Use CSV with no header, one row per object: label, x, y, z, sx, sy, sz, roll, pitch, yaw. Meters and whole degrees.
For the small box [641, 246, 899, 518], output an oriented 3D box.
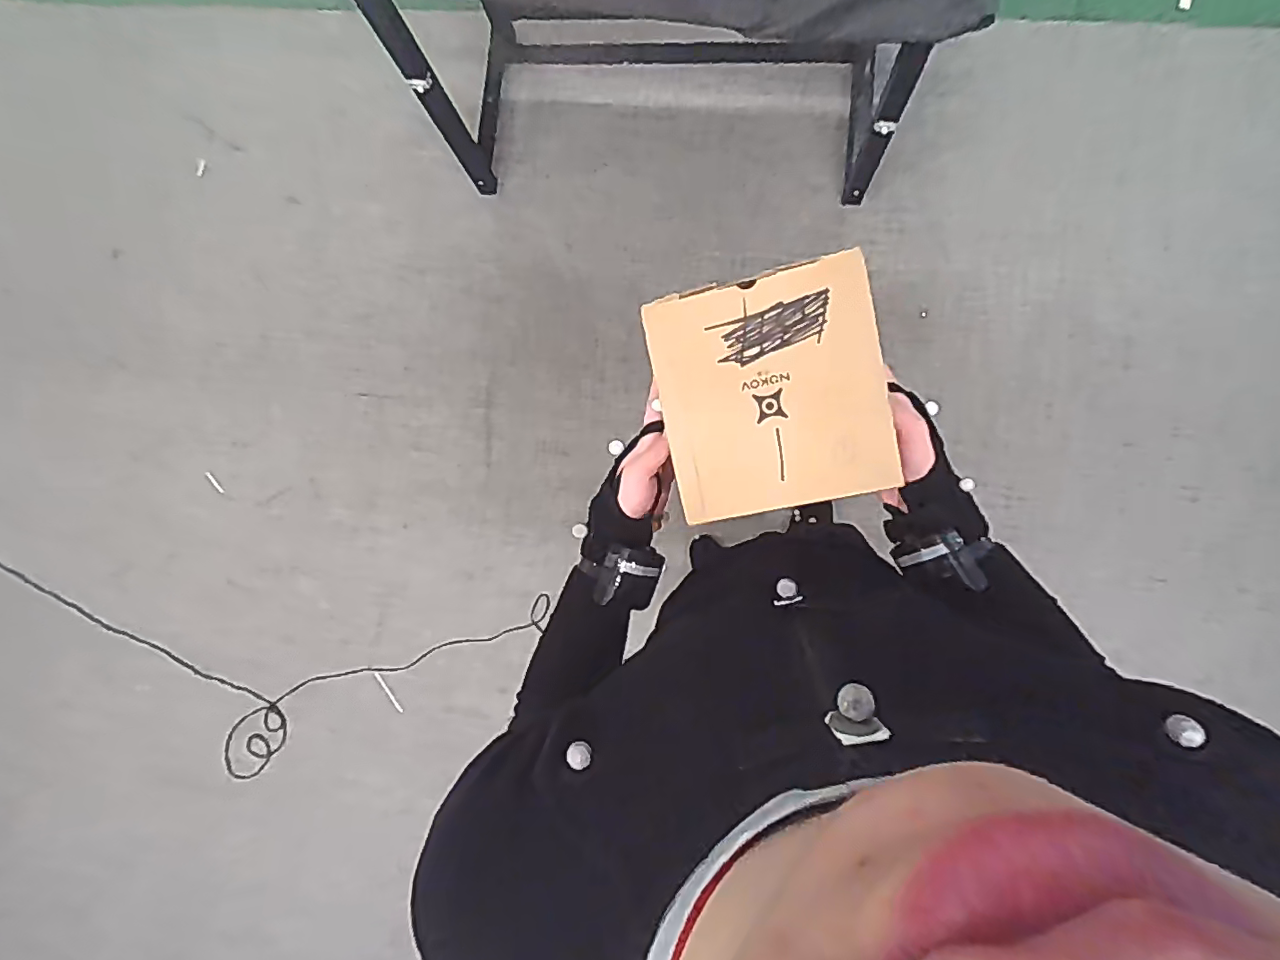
small box,0.109,-0.077,0.483,0.168,0.176,0.179,-12,95,12
